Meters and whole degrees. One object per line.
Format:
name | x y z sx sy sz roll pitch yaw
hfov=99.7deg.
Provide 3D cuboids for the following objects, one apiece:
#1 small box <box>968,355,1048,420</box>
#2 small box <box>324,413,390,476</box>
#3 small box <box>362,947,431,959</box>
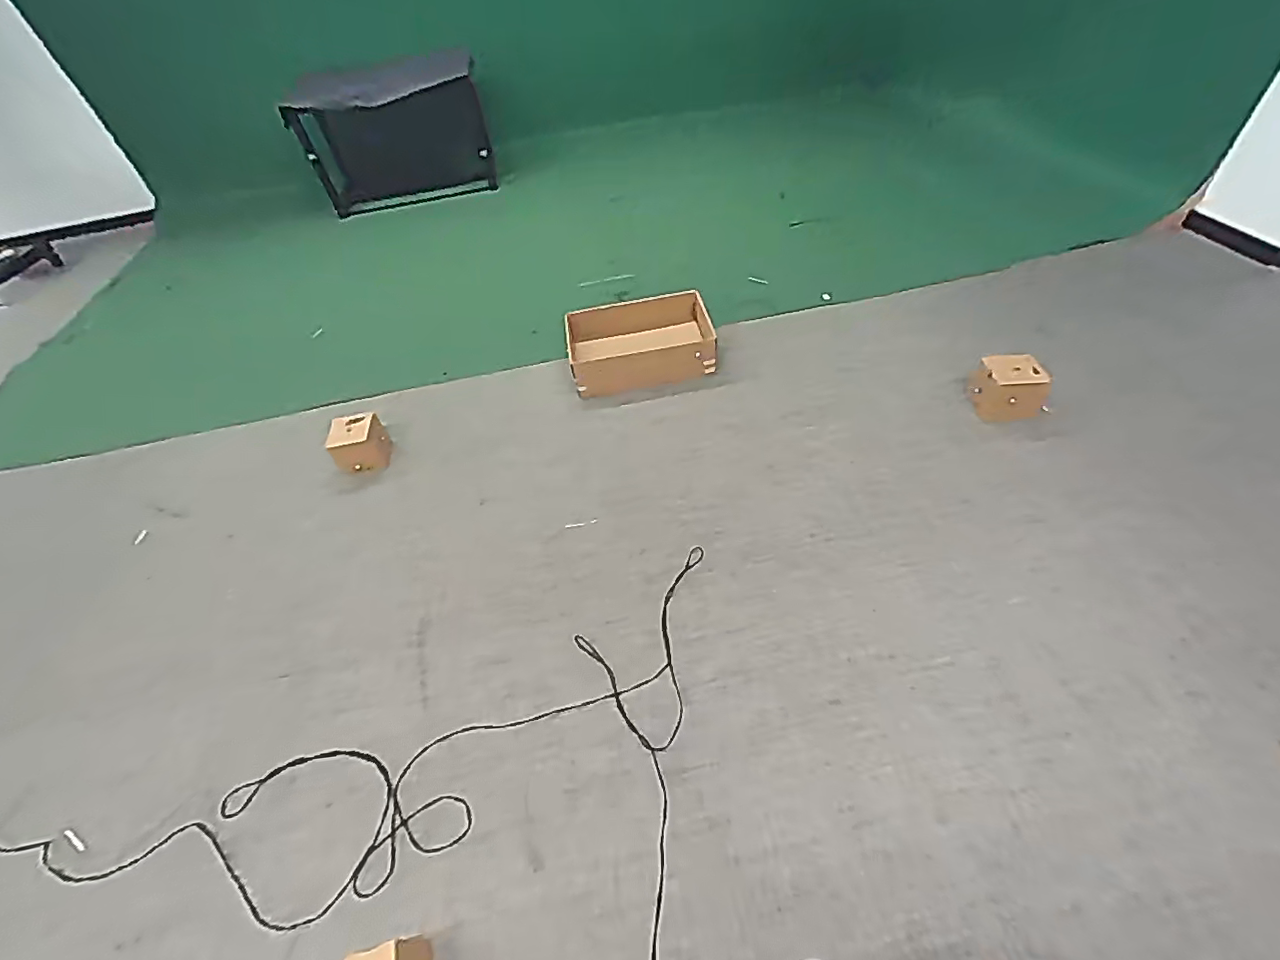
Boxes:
small box | 1.331 -0.334 1.975 0.179 0.176 0.168 -3 49 6
small box | -1.124 -0.140 2.163 0.168 0.176 0.179 -11 49 -1
small box | -0.509 1.037 1.040 0.168 0.176 0.179 -19 48 -8
